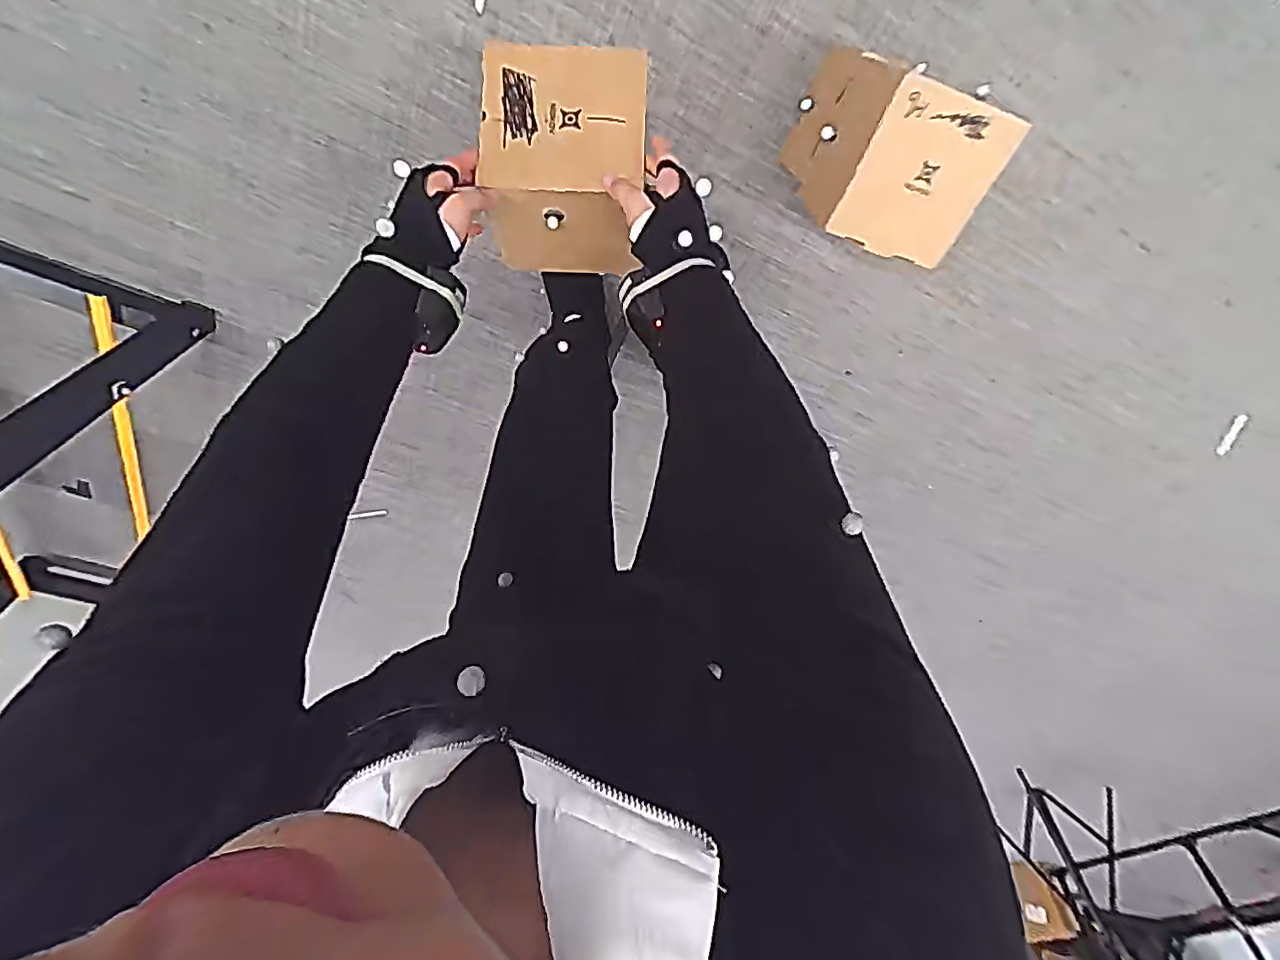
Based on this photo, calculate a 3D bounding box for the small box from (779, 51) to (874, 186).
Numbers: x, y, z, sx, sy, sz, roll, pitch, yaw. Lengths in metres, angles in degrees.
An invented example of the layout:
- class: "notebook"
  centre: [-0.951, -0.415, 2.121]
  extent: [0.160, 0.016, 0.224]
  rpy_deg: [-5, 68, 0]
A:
- class: "small box"
  centre: [0.339, -0.528, 0.830]
  extent: [0.179, 0.176, 0.168]
  rpy_deg: [15, 130, -12]

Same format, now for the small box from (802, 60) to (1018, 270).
- class: "small box"
  centre: [0.332, -0.415, 0.713]
  extent: [0.168, 0.176, 0.179]
  rpy_deg: [14, 131, -11]

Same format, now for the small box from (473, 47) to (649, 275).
- class: "small box"
  centre: [-0.079, -0.357, 0.633]
  extent: [0.179, 0.168, 0.176]
  rpy_deg: [1, 174, 0]
